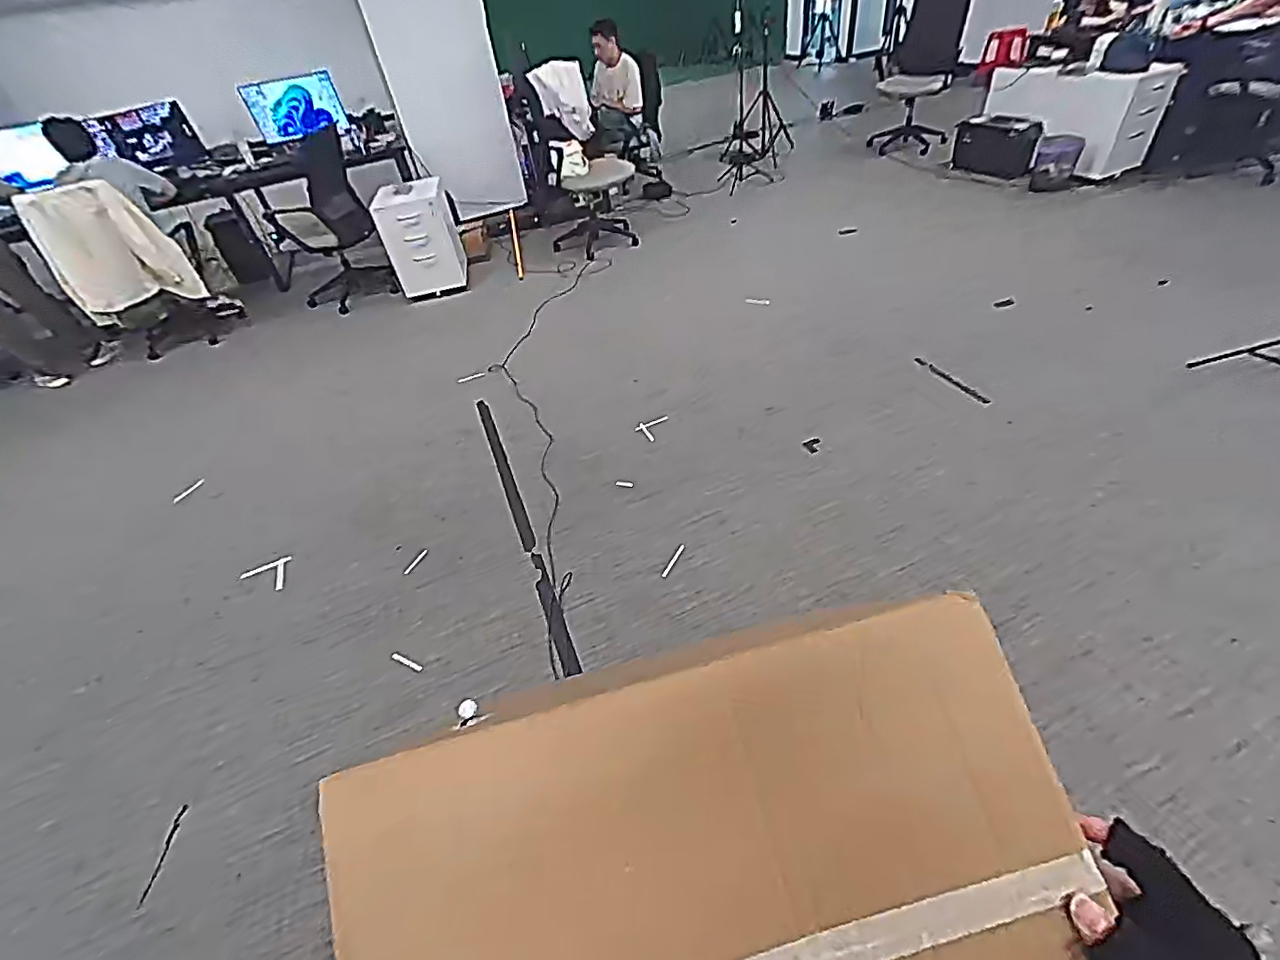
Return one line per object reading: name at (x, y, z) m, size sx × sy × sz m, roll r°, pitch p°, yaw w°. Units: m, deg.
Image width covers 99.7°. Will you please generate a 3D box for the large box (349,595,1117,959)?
large box at (0.057, 0.310, 0.438) m, size 0.408 × 0.320 × 0.320 m, roll -16°, pitch 75°, yaw -3°
